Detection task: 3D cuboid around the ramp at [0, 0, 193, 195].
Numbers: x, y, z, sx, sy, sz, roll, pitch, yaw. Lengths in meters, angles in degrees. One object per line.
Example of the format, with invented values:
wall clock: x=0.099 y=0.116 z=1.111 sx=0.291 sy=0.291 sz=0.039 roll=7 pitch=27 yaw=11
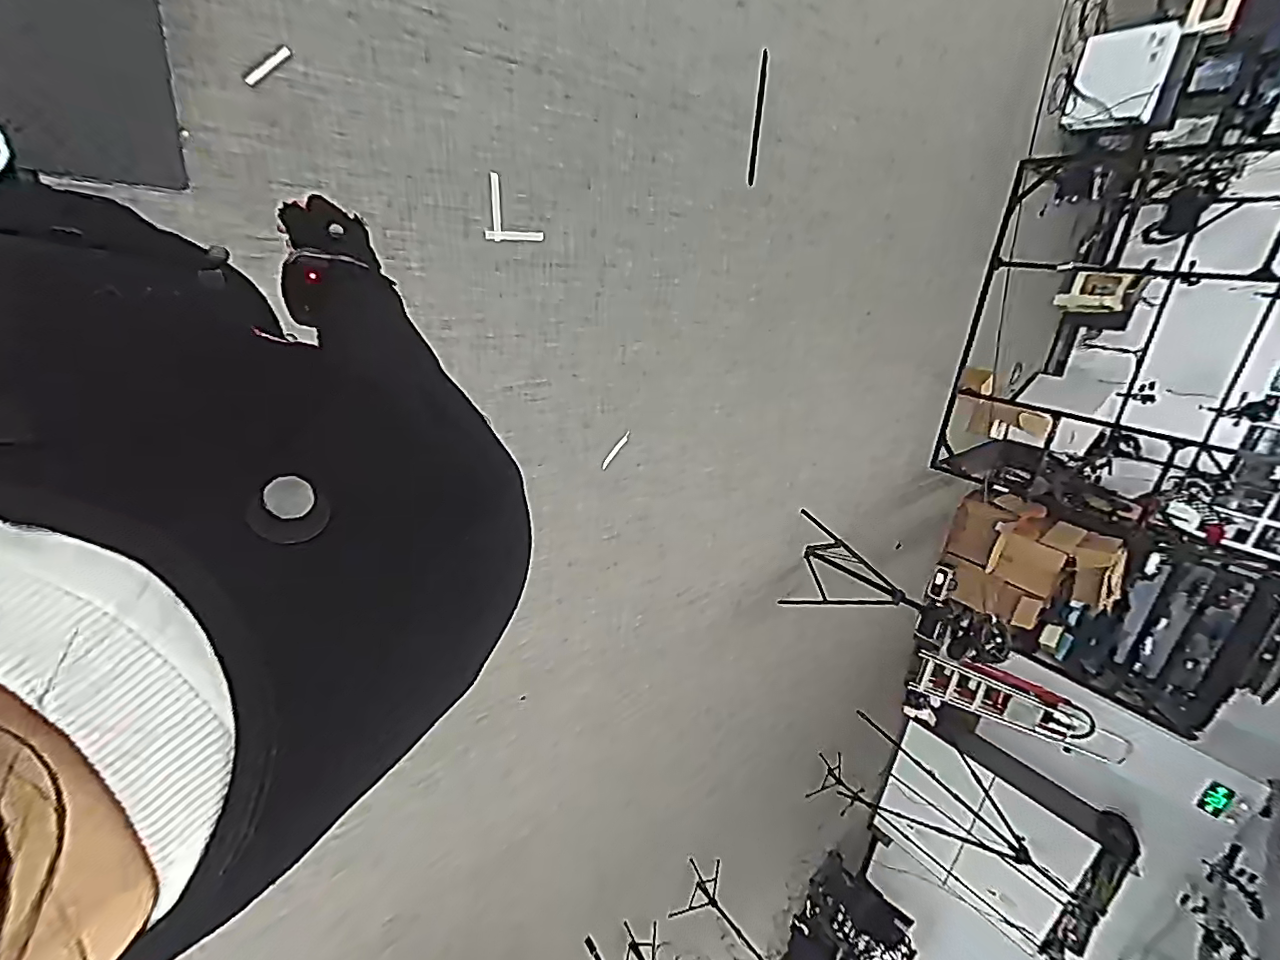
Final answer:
ramp: x=-0.957 y=-0.933 z=0.664 sx=0.509 sy=0.206 sz=0.991 roll=-15 pitch=119 yaw=-38
